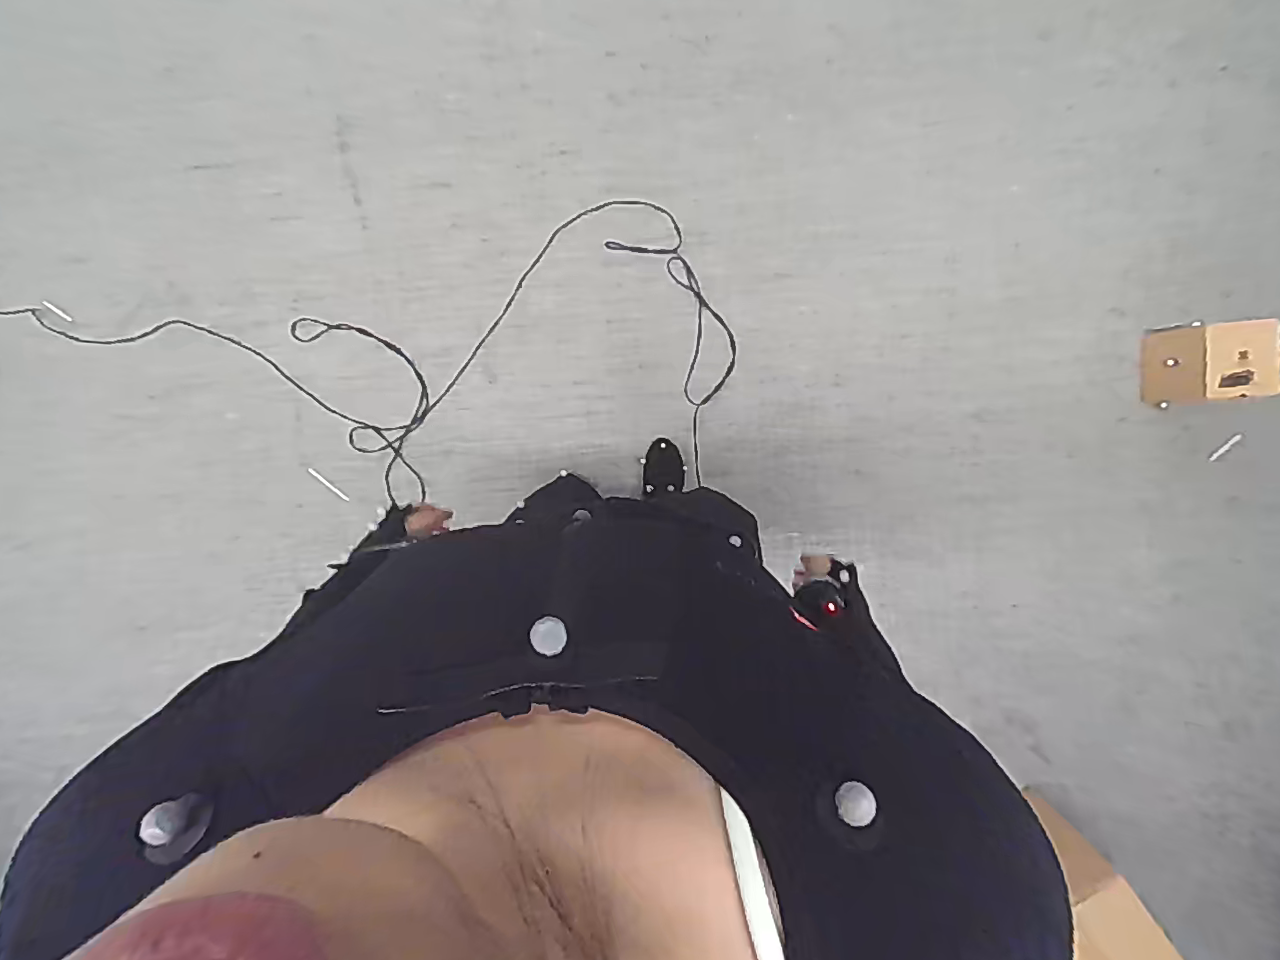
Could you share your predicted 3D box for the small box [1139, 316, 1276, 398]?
[{"bbox_3d":[1.375,-0.293,1.323,0.168,0.176,0.179,-4,95,3],"label":"small box"}]
